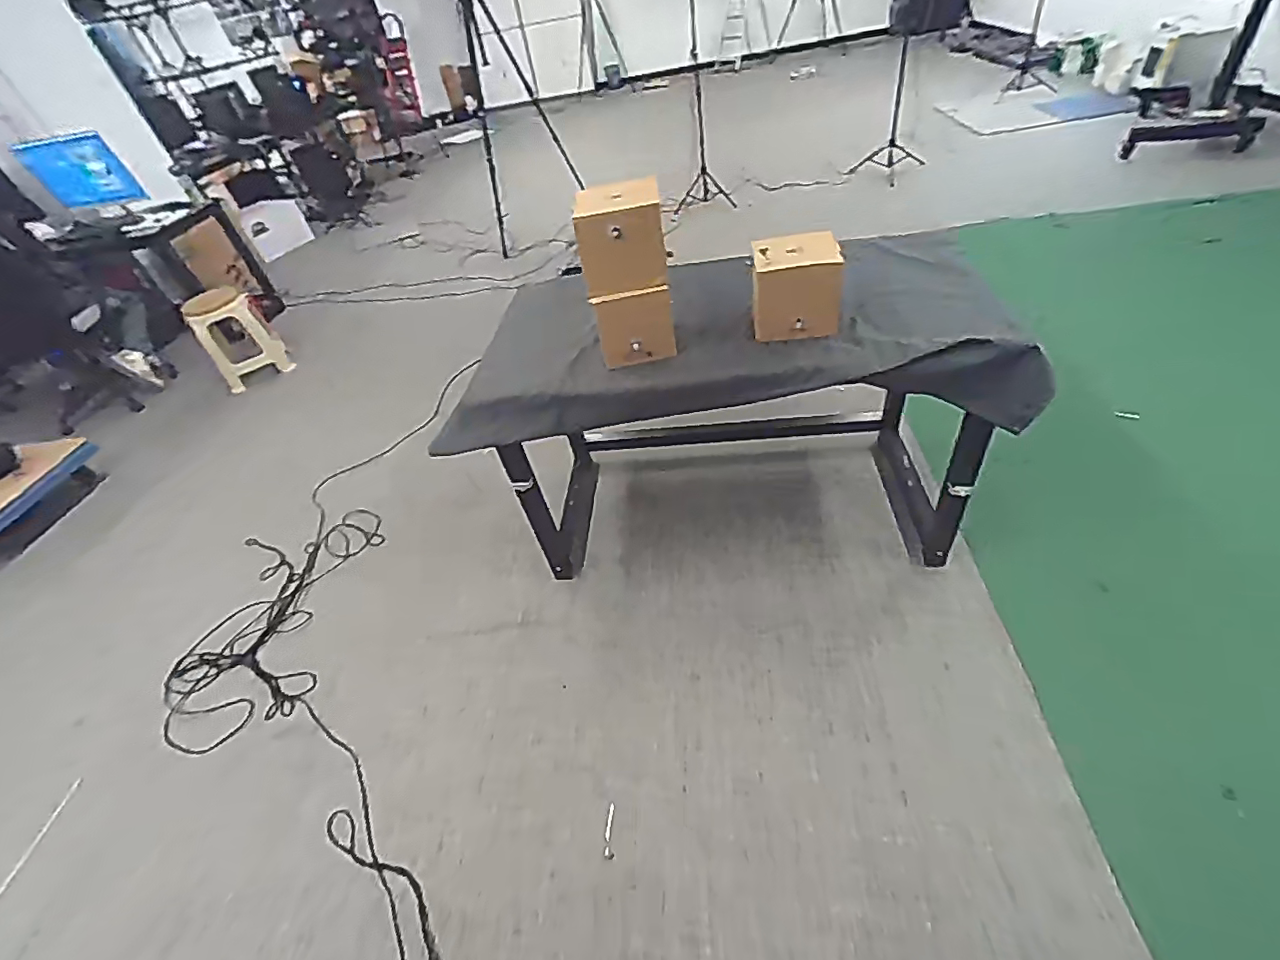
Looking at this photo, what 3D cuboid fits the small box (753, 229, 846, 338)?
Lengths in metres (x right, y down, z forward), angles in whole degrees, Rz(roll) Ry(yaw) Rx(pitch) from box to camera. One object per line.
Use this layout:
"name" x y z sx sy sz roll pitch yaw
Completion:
"small box" 0.345 -0.435 1.203 0.179 0.176 0.168 -3 44 9

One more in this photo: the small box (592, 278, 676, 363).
"small box" -0.015 -0.392 1.239 0.168 0.176 0.179 -10 44 2

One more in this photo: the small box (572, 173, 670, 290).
"small box" -0.035 -0.518 1.138 0.179 0.176 0.168 -7 45 4
